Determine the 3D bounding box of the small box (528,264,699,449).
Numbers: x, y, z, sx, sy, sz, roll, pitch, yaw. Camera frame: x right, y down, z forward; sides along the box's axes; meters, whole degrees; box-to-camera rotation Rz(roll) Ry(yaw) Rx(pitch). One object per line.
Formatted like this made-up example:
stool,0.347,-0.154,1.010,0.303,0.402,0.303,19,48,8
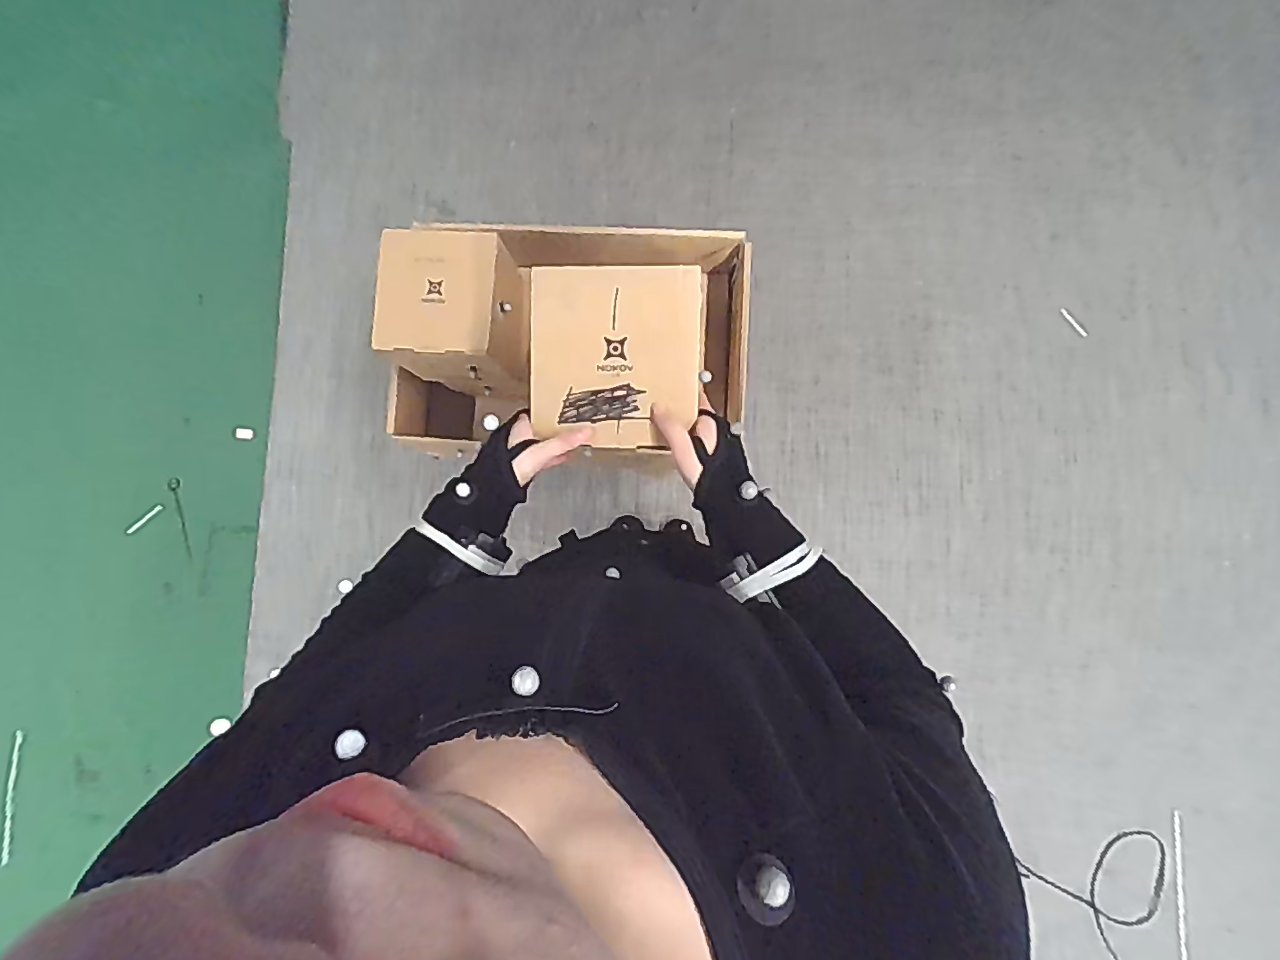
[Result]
small box,-0.020,-0.126,0.604,0.168,0.176,0.179,2,93,5

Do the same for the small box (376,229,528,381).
small box,-0.278,-0.258,0.835,0.168,0.176,0.179,4,86,3
